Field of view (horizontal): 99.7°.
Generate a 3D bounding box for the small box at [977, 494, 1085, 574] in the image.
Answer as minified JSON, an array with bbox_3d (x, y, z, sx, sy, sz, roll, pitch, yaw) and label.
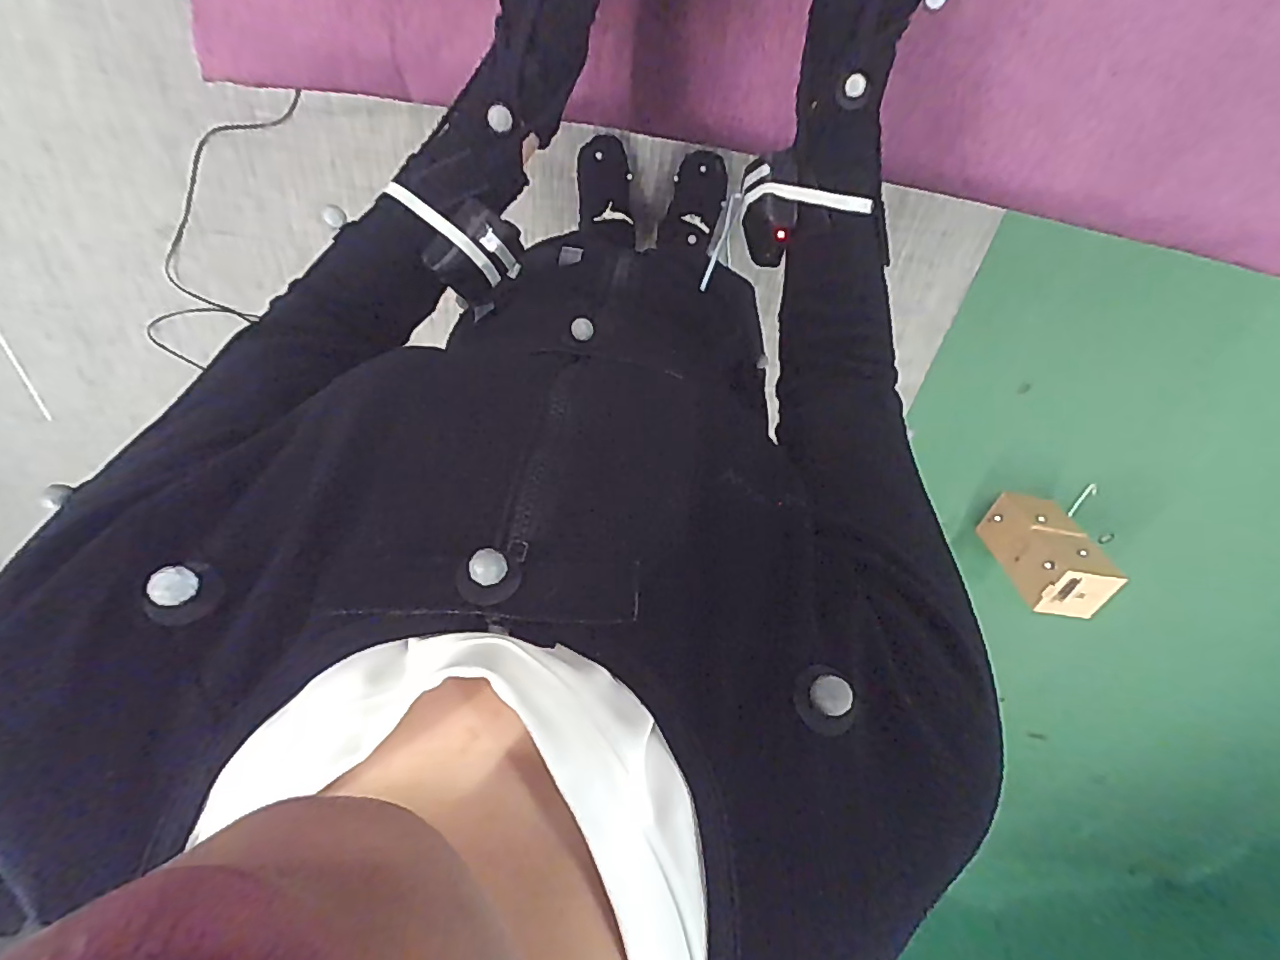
[{"bbox_3d":[1.197,0.163,1.670,0.179,0.176,0.168,10,126,-4],"label":"small box"}]
